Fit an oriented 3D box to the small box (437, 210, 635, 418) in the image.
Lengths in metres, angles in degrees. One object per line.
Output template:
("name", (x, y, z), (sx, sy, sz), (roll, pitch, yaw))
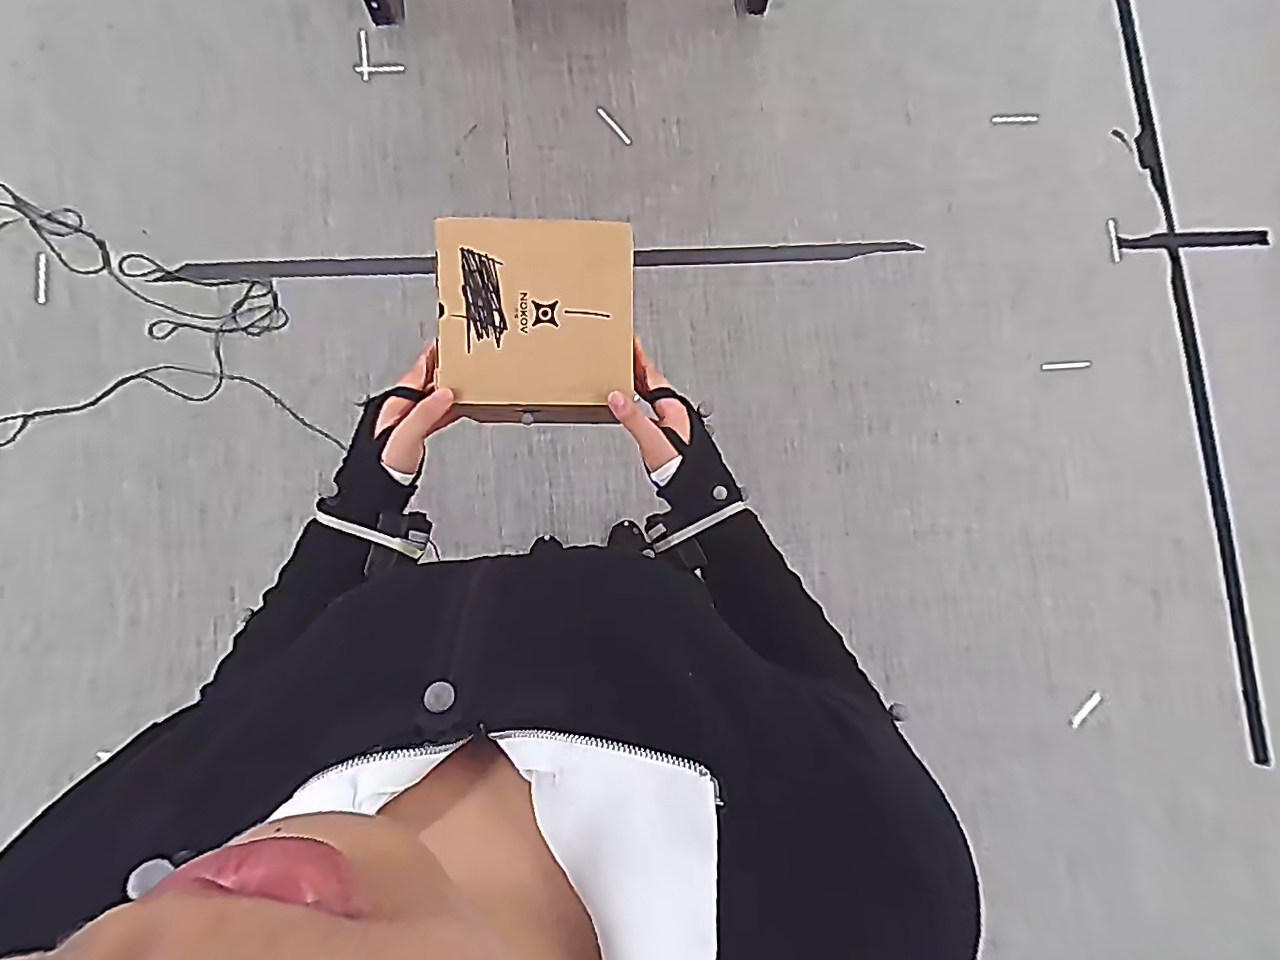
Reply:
("small box", (-0.097, -0.155, 0.560), (0.179, 0.176, 0.168), (0, 90, -5))
